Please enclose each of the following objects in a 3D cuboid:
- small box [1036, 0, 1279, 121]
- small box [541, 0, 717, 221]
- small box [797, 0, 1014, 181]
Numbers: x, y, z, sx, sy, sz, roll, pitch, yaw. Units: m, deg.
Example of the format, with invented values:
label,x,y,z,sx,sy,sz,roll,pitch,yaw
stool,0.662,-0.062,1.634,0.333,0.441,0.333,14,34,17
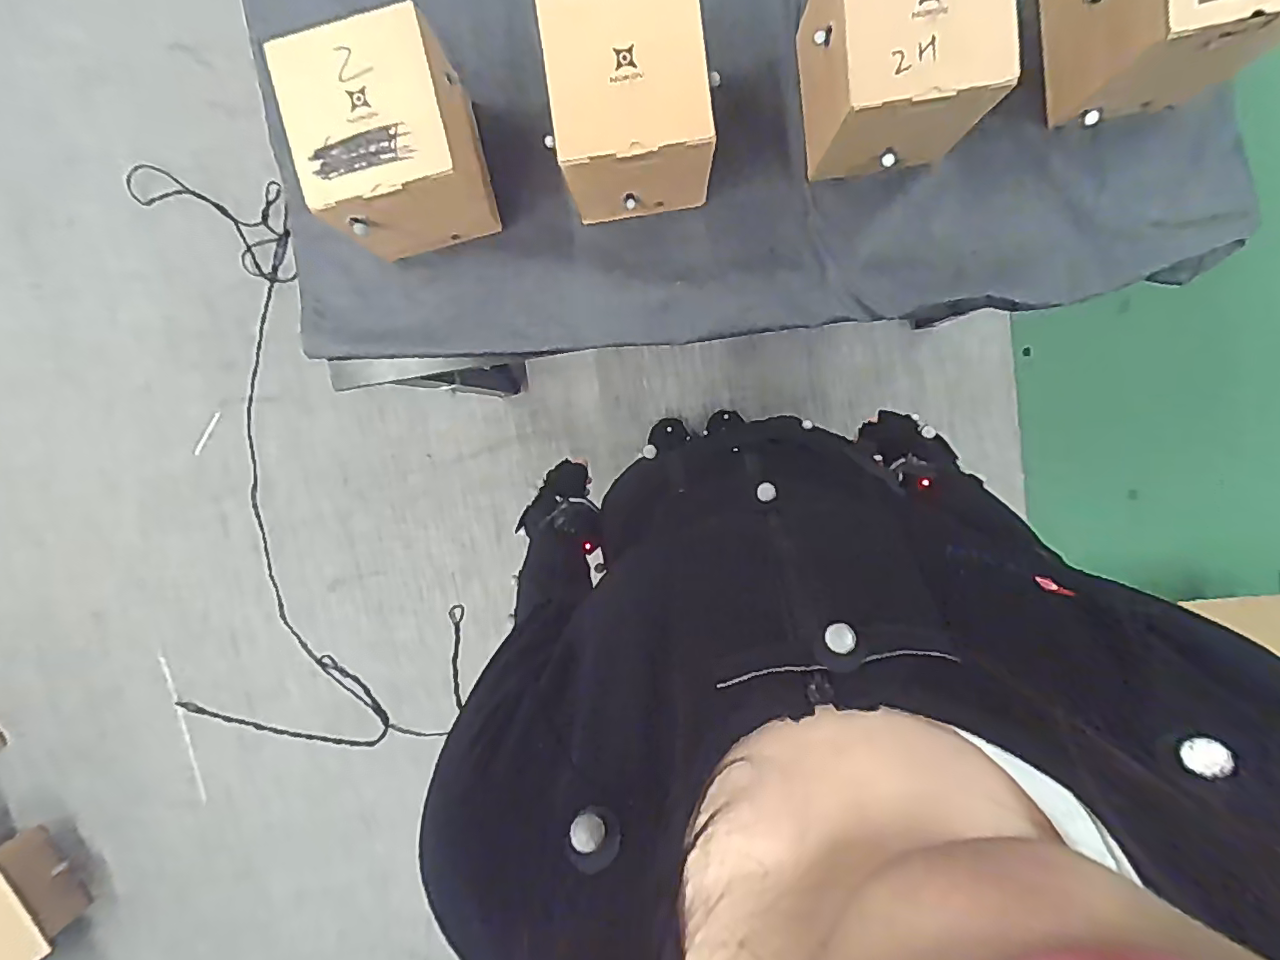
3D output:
label,x,y,z,sx,sy,sz,roll,pitch,yaw
small box,0.578,-0.530,0.596,0.168,0.176,0.179,-8,95,3
small box,-0.011,-0.430,0.628,0.168,0.176,0.179,-8,97,2
small box,0.284,-0.474,0.612,0.168,0.176,0.179,-7,96,3
